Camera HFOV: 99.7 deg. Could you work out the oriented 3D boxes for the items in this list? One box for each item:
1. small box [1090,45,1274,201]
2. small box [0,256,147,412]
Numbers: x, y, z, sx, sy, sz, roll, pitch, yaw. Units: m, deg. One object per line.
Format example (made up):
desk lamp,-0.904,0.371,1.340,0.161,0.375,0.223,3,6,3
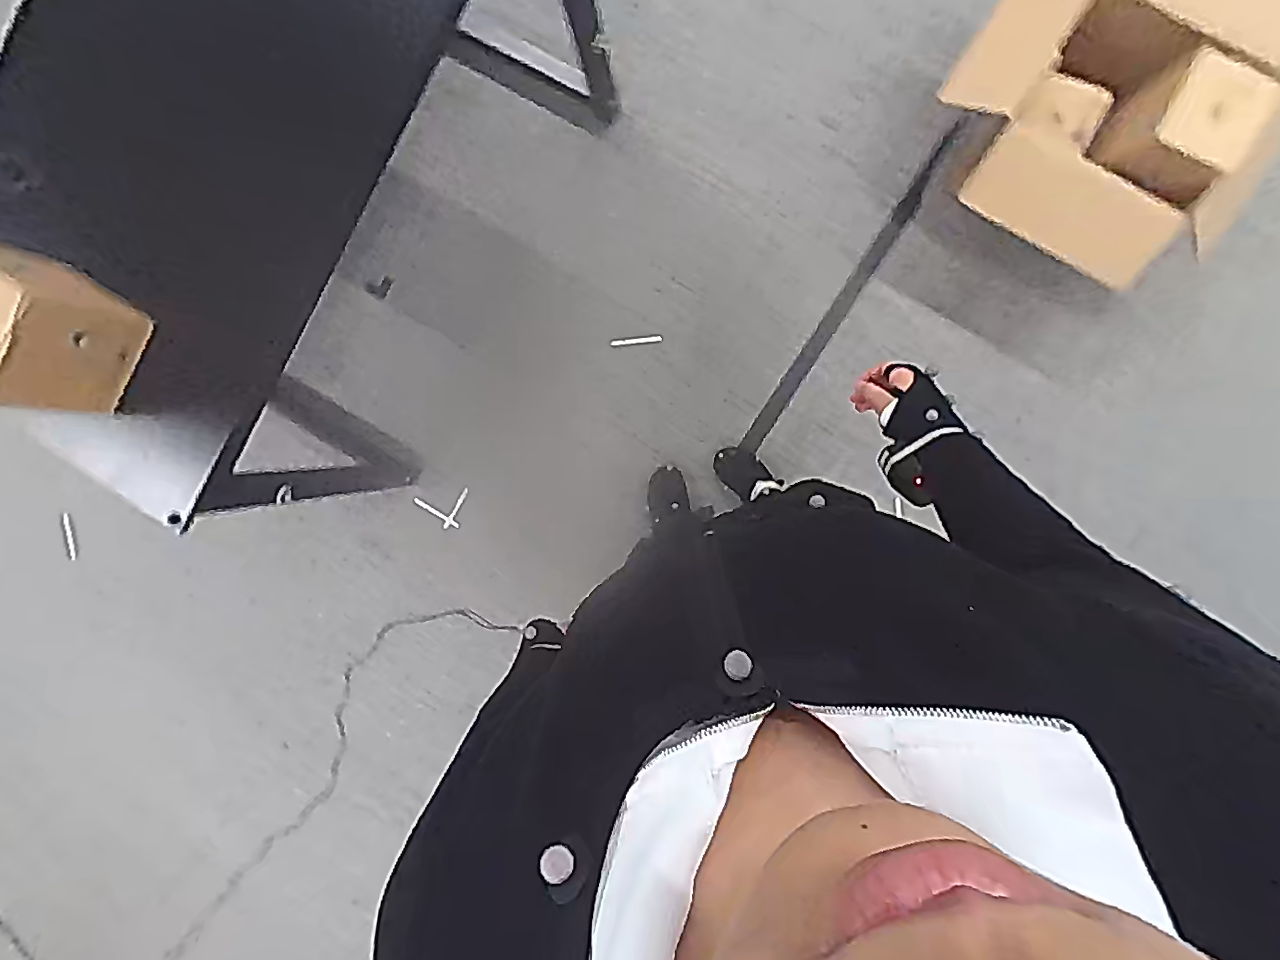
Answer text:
small box,1.069,-0.701,1.088,0.168,0.176,0.179,25,96,-1
small box,-0.862,-0.206,0.757,0.179,0.176,0.168,31,95,4
